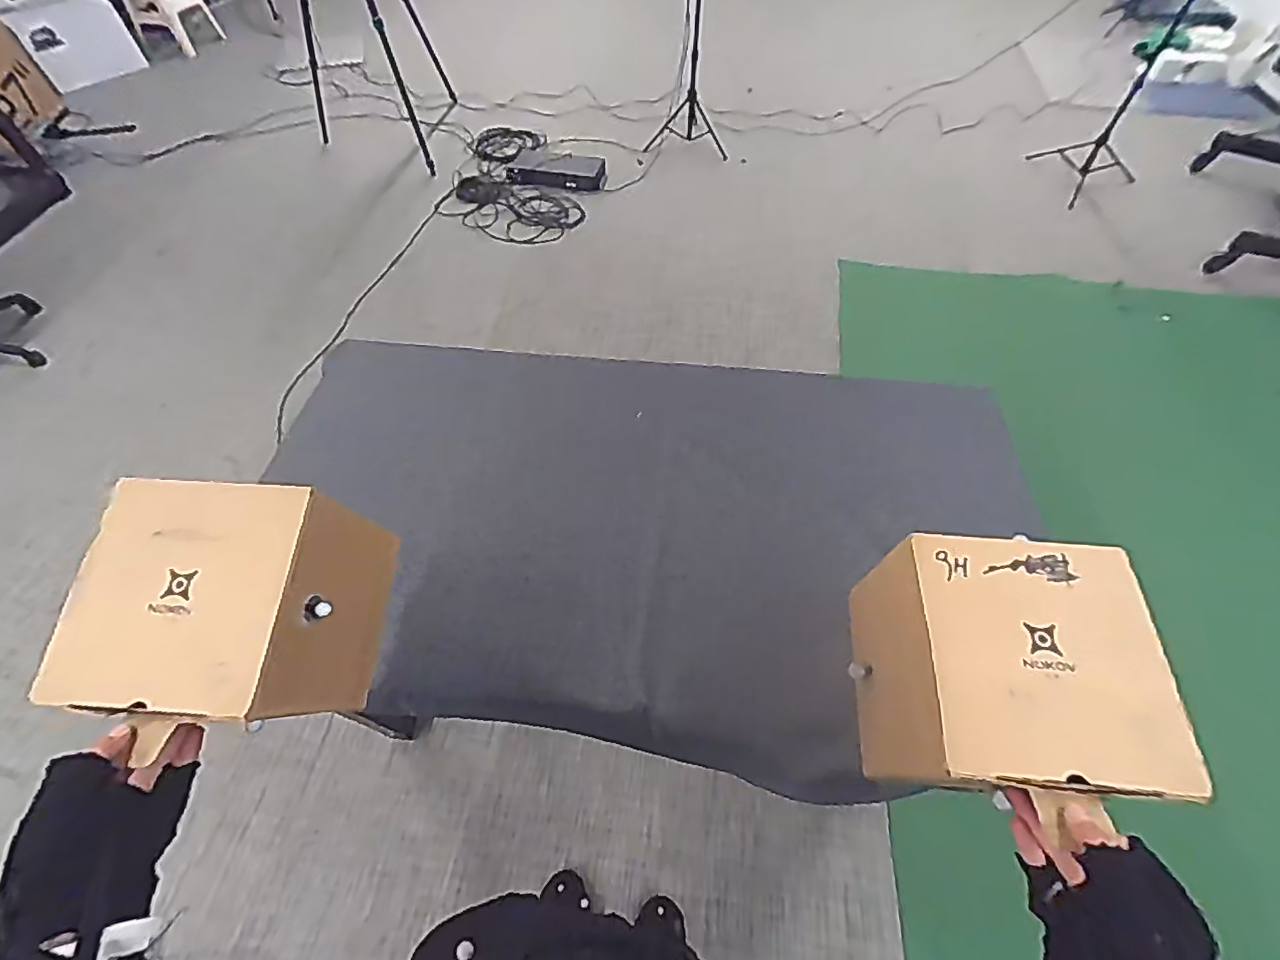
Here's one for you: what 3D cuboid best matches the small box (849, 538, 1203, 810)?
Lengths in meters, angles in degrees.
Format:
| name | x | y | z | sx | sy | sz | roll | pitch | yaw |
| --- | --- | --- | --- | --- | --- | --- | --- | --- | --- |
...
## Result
| name | x | y | z | sx | sy | sz | roll | pitch | yaw |
| --- | --- | --- | --- | --- | --- | --- | --- | --- | --- |
| small box | 0.291 | 0.165 | 0.460 | 0.168 | 0.176 | 0.179 | 4 | 62 | 3 |

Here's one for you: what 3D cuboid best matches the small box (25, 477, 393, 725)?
| name | x | y | z | sx | sy | sz | roll | pitch | yaw |
| --- | --- | --- | --- | --- | --- | --- | --- | --- | --- |
| small box | -0.345 | 0.110 | 0.480 | 0.168 | 0.176 | 0.179 | 3 | 70 | 2 |
